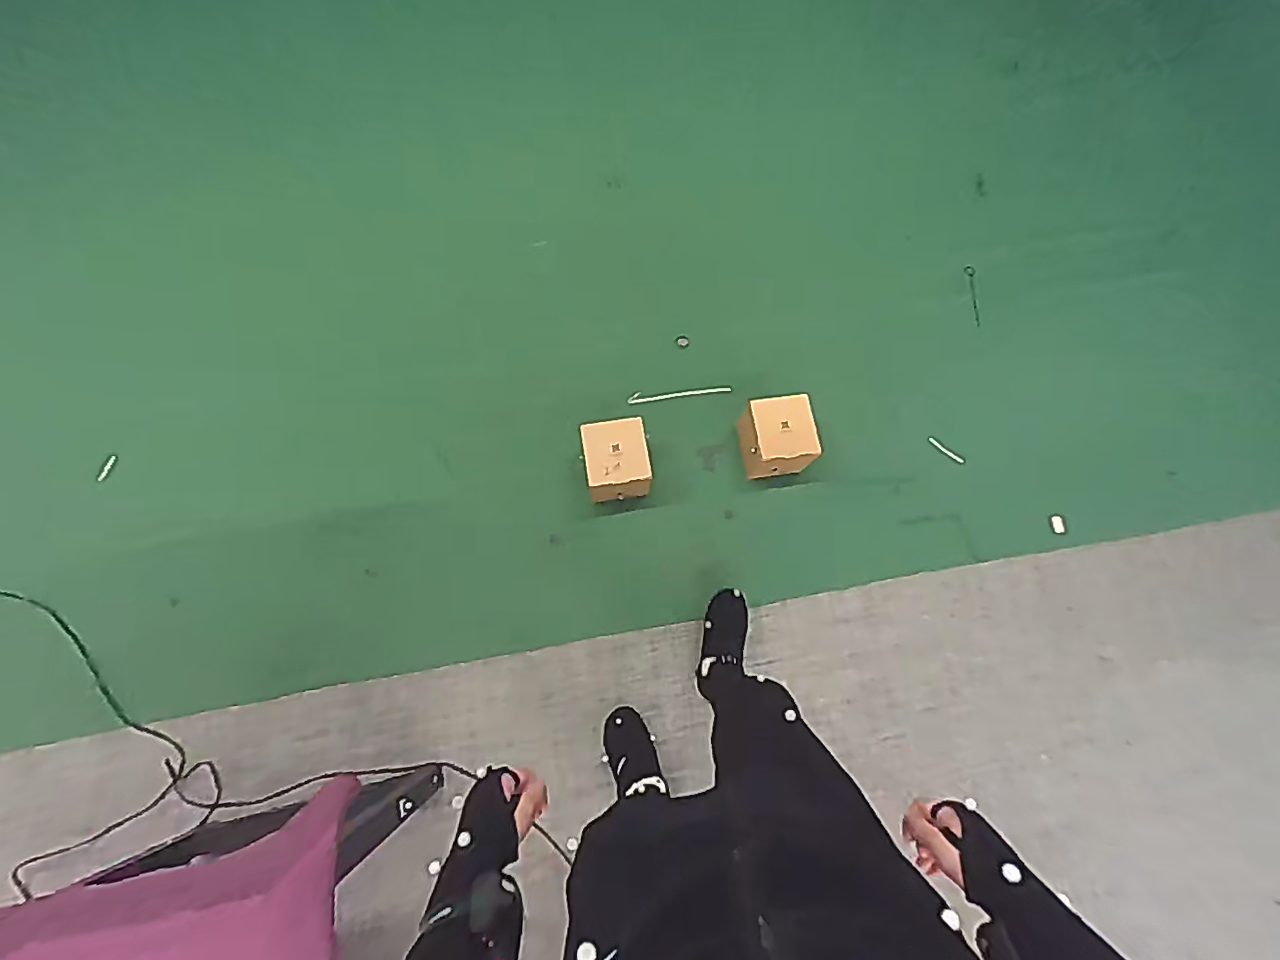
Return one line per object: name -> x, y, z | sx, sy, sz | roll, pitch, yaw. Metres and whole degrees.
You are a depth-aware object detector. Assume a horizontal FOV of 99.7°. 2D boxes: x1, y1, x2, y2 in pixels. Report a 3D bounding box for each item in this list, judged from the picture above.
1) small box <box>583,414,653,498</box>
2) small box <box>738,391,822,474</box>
small box -> -0.063, -0.062, 1.483 | 0.168, 0.176, 0.179 | -9, 75, -5
small box -> 0.387, -0.130, 1.527 | 0.168, 0.176, 0.179 | -8, 76, -5
